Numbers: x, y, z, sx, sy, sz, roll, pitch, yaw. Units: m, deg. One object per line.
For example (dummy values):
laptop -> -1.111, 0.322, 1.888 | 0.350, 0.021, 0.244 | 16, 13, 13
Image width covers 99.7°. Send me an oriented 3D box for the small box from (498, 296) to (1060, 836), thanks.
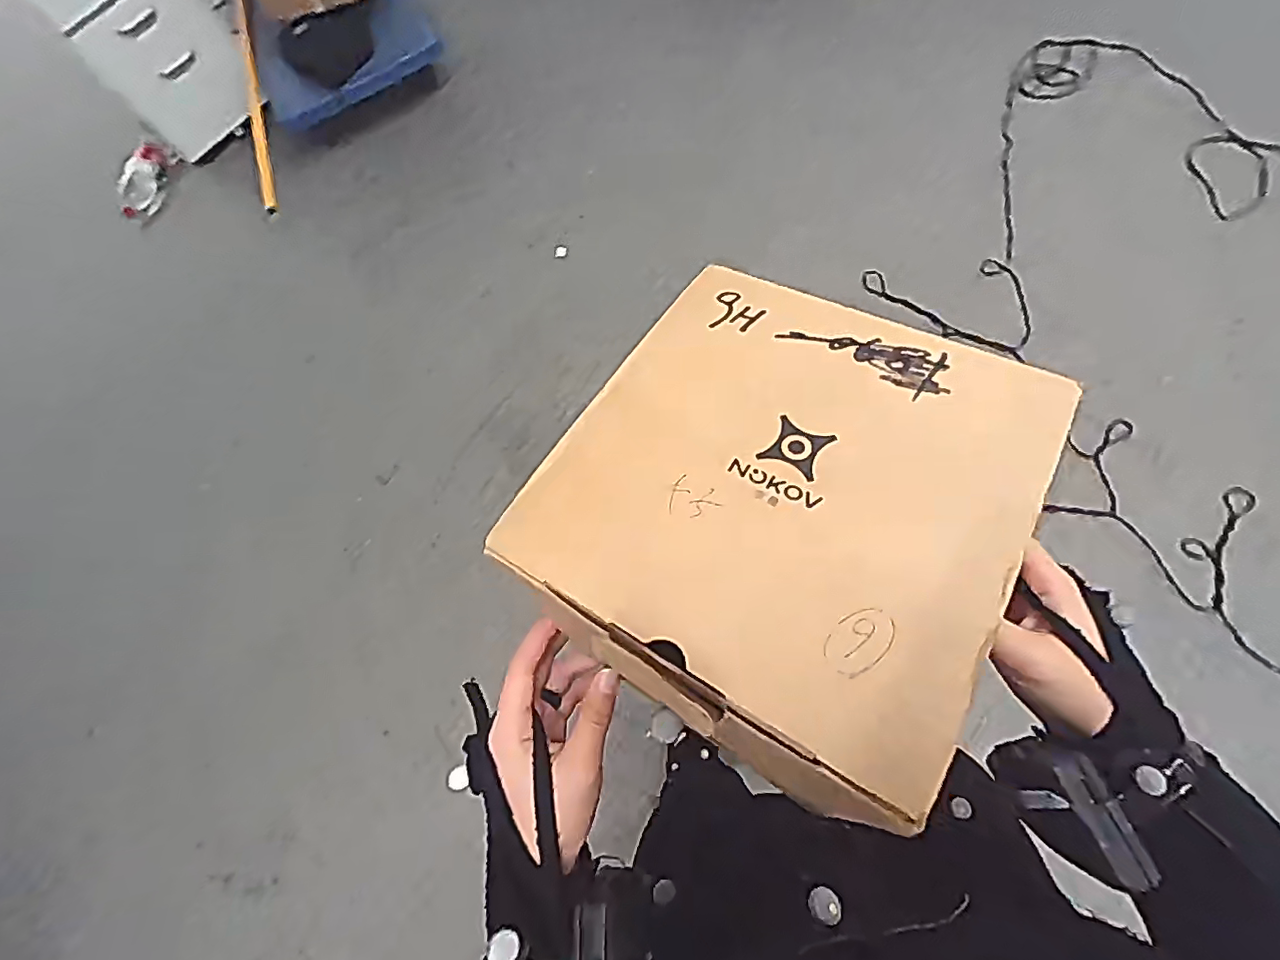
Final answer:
small box -> 0.065, 0.045, 0.285 | 0.168, 0.176, 0.179 | 28, 68, 22
